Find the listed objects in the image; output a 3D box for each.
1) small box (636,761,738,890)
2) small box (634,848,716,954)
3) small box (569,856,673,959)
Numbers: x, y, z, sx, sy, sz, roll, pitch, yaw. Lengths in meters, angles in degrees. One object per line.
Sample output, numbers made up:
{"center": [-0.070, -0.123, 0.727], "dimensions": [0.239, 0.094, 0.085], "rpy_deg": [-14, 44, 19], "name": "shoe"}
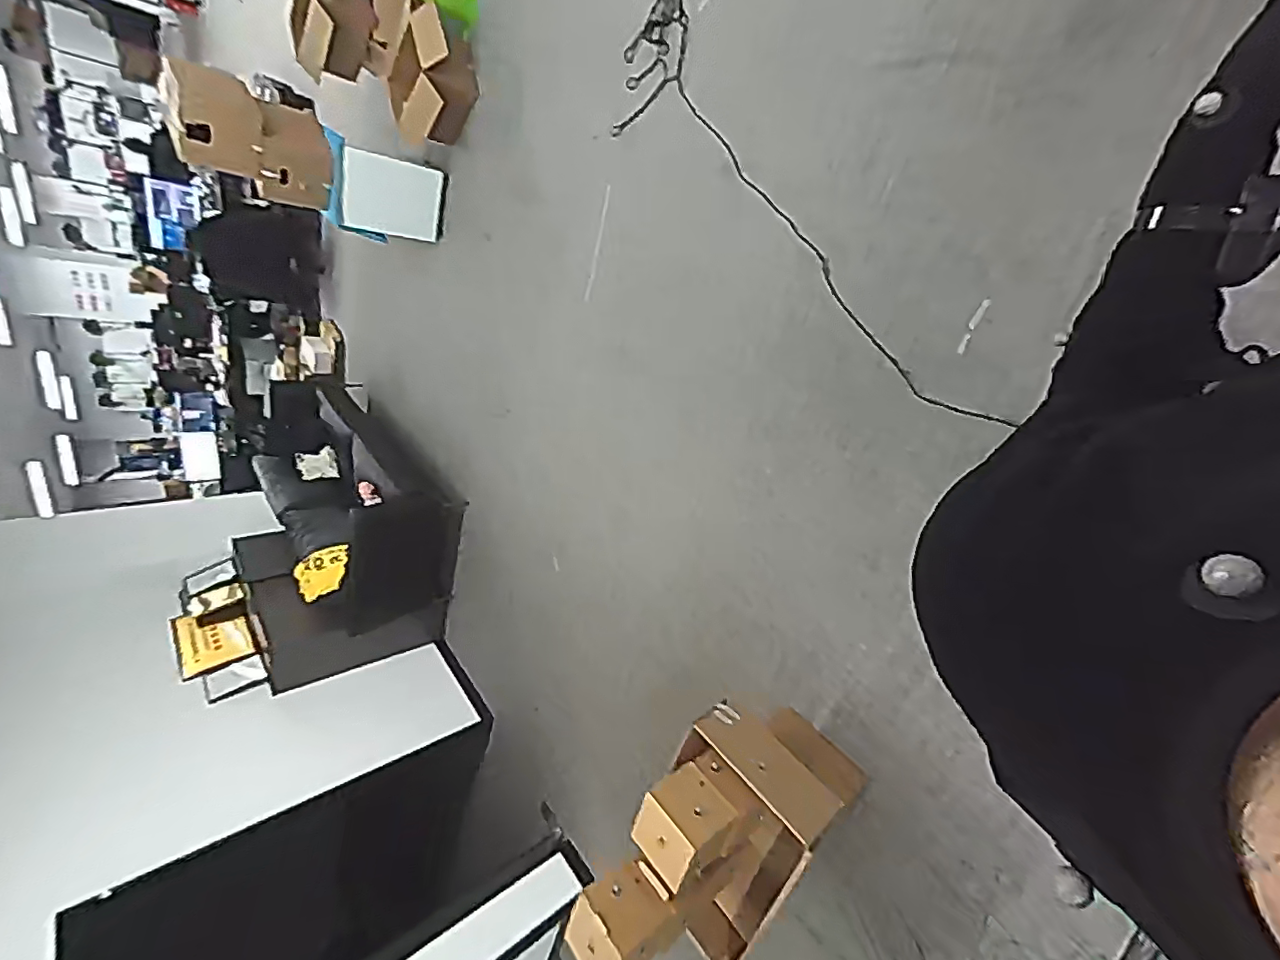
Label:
{"center": [0.120, 0.844, 1.340], "dimensions": [0.168, 0.176, 0.179], "rpy_deg": [34, 120, 38], "name": "small box"}
{"center": [0.077, 1.063, 1.421], "dimensions": [0.168, 0.176, 0.179], "rpy_deg": [30, 115, 40], "name": "small box"}
{"center": [-0.043, 1.071, 1.311], "dimensions": [0.168, 0.176, 0.179], "rpy_deg": [34, 117, 39], "name": "small box"}
